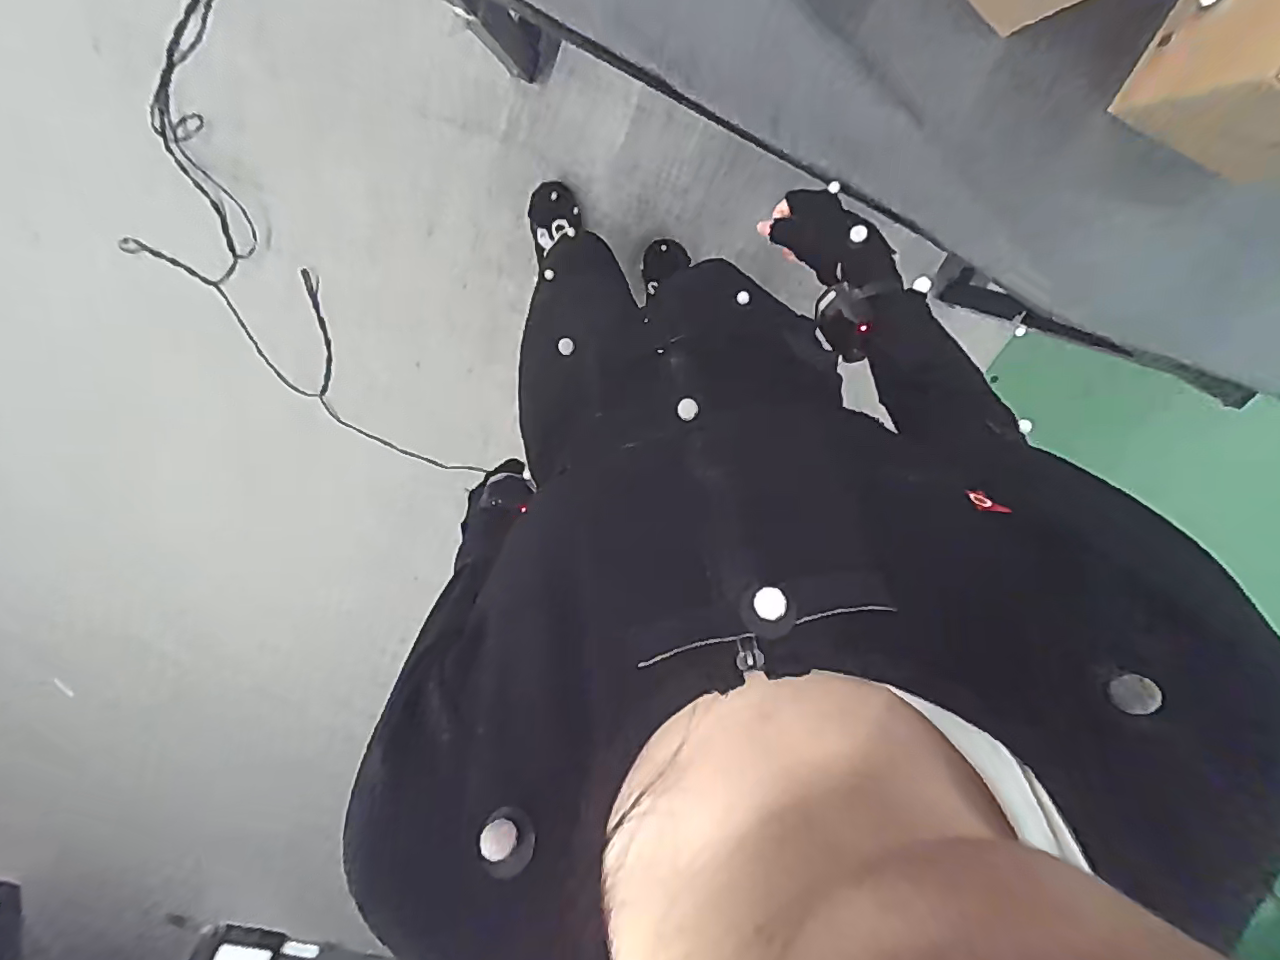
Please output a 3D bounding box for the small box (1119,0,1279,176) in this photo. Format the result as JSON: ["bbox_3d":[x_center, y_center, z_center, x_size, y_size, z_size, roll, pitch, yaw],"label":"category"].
[{"bbox_3d":[0.606,-0.389,0.478,0.179,0.176,0.168,19,114,-10],"label":"small box"}]
